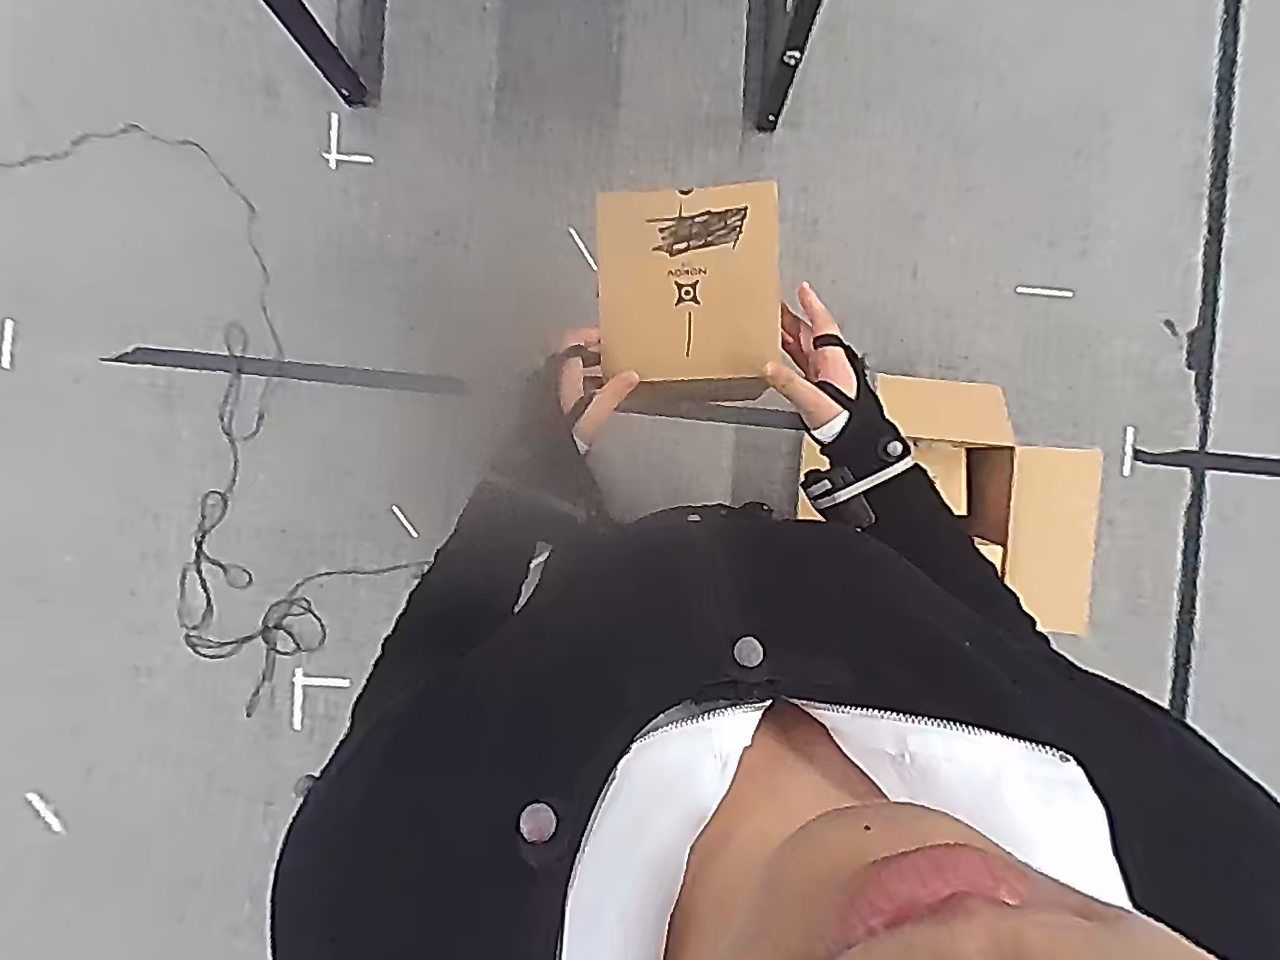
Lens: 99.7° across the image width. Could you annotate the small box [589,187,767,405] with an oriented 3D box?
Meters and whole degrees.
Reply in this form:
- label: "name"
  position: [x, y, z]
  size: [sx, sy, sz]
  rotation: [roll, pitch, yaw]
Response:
- label: "small box"
  position: [0.039, -0.180, 0.578]
  size: [0.168, 0.176, 0.179]
  rotation: [-2, 91, 5]
